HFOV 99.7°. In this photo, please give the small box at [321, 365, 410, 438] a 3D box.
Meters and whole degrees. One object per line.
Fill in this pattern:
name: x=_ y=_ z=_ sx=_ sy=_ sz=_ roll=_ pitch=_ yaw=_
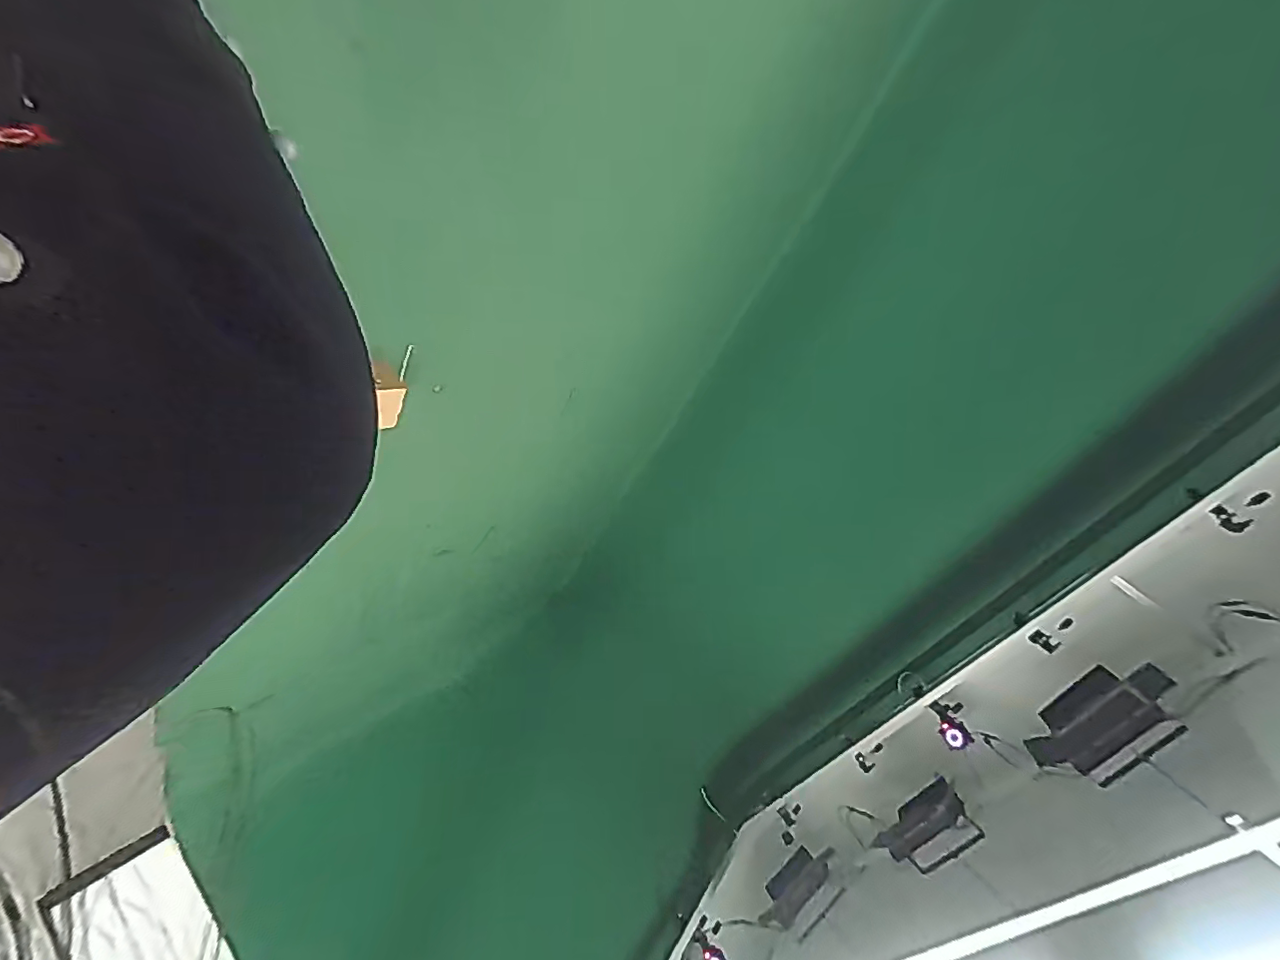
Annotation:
small box: x=-0.889 y=-0.260 z=1.750 sx=0.179 sy=0.176 sz=0.168 roll=-20 pitch=146 yaw=-56
